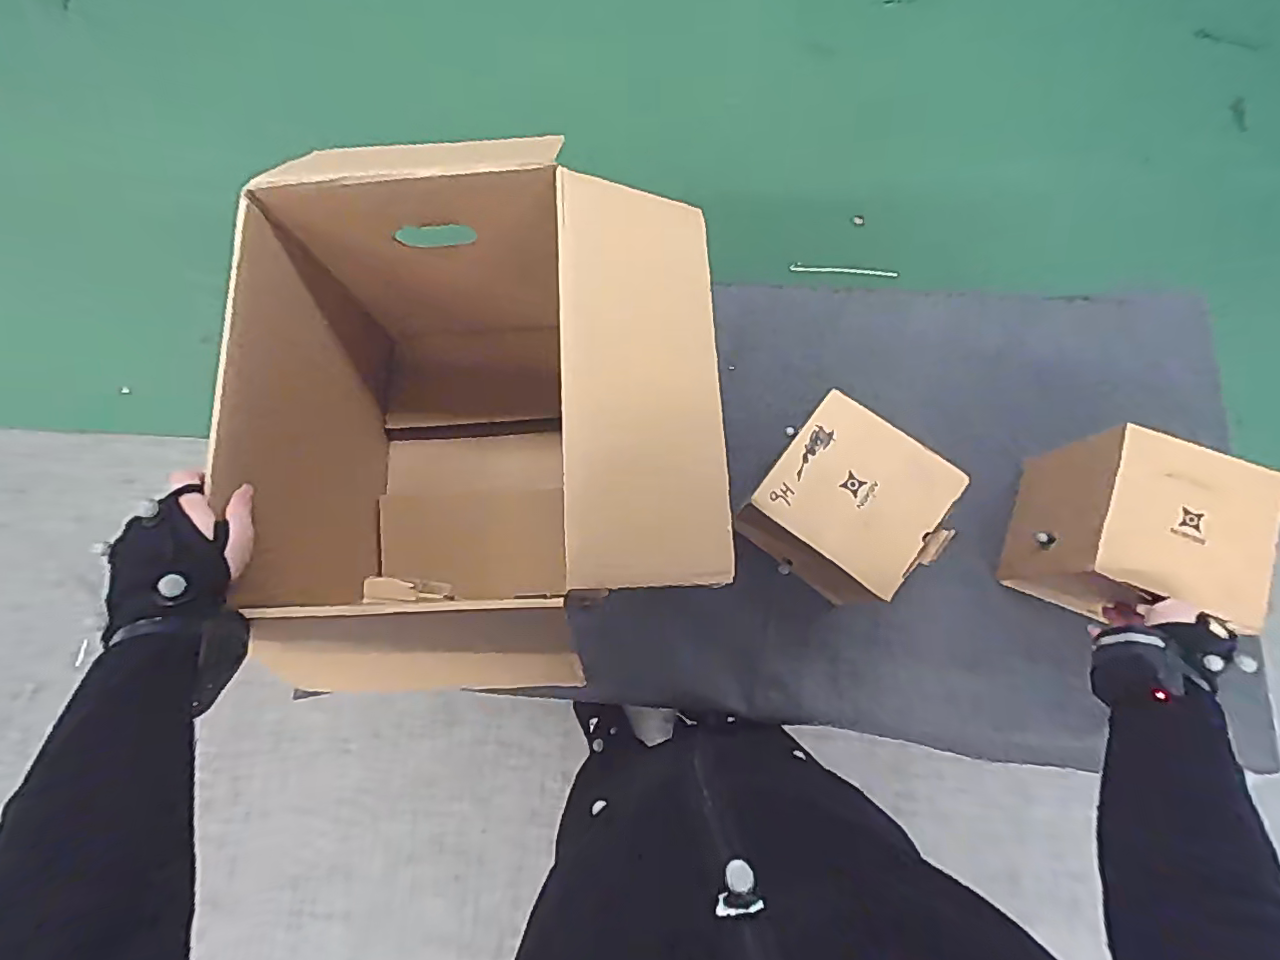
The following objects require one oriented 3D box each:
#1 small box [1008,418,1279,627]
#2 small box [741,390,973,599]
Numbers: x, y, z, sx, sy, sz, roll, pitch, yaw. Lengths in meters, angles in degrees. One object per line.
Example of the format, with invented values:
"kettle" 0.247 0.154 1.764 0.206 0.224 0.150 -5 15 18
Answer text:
"small box" 0.574 0.057 0.633 0.168 0.176 0.179 21 79 7
"small box" 0.246 0.025 0.660 0.179 0.176 0.168 37 82 10
